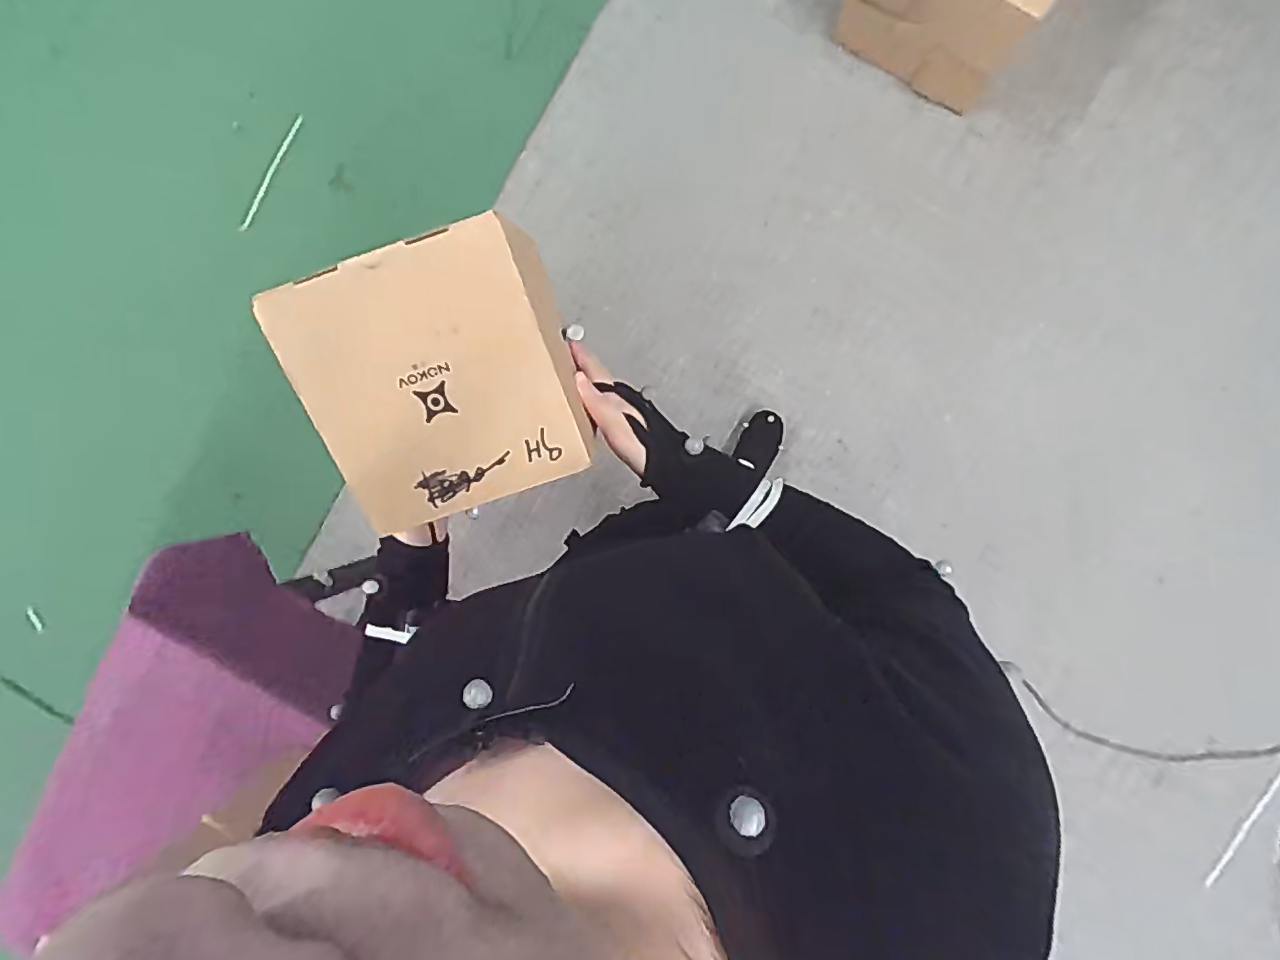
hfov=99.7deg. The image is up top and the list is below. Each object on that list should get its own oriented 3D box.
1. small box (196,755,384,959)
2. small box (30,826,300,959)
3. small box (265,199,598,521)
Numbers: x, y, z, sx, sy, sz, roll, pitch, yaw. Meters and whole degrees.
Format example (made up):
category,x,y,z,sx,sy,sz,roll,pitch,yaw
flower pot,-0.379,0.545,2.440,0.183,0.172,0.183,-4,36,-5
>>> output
category,x,y,z,sx,sy,sz,roll,pitch,yaw
small box,-0.498,0.524,0.750,0.179,0.176,0.168,29,94,4
small box,-0.518,0.535,0.587,0.168,0.176,0.179,27,93,4
small box,-0.136,-0.094,0.432,0.168,0.176,0.179,-17,108,3
